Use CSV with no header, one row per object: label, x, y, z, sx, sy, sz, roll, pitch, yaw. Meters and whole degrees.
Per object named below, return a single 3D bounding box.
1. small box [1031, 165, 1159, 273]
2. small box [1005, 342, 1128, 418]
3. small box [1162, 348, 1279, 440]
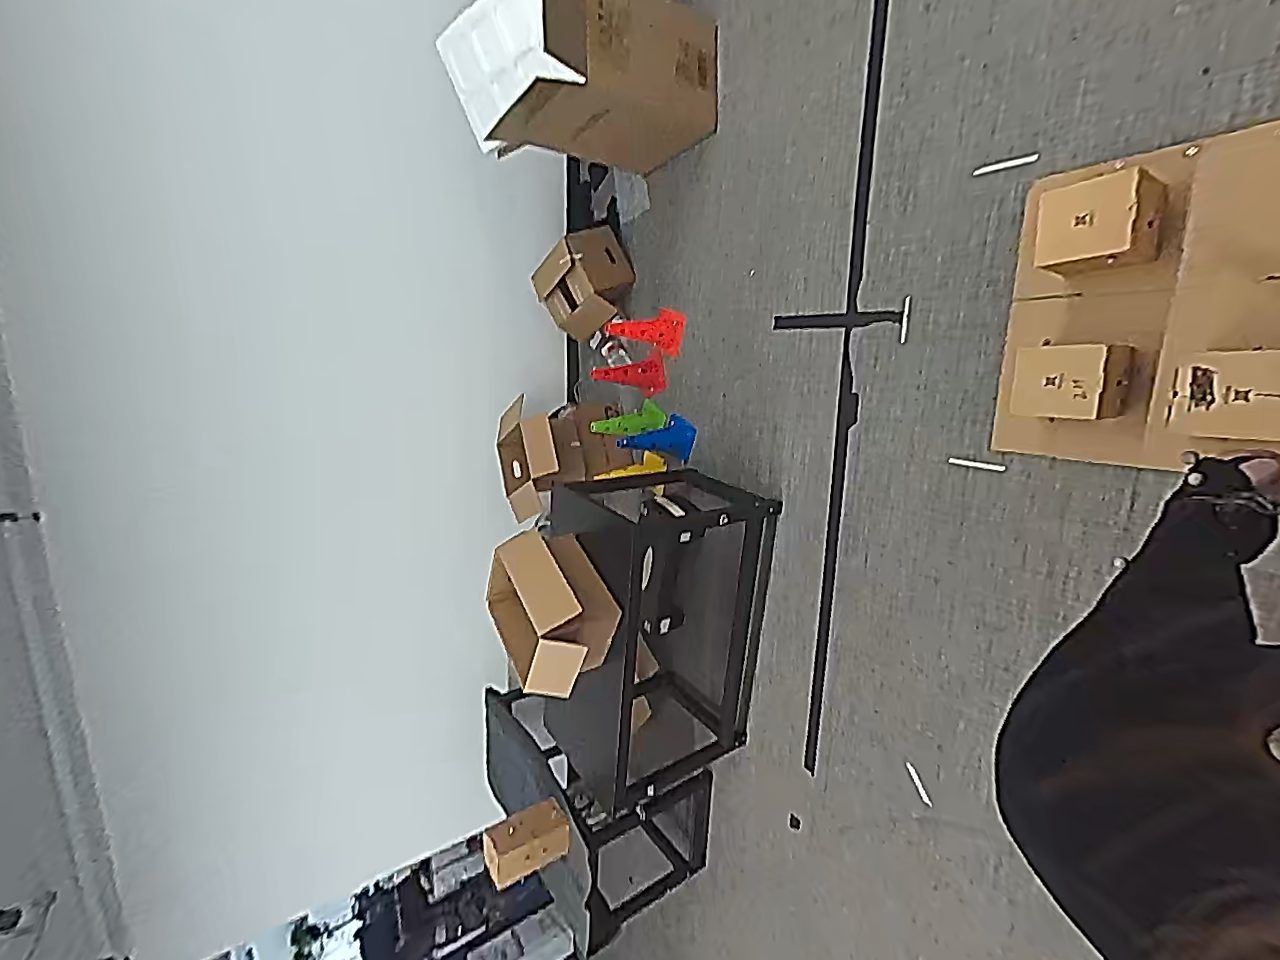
small box,1.021,-0.573,1.216,0.179,0.176,0.168,10,104,54
small box,1.008,-0.236,1.281,0.179,0.176,0.168,15,109,53
small box,1.173,-0.170,1.058,0.179,0.176,0.168,14,108,52
